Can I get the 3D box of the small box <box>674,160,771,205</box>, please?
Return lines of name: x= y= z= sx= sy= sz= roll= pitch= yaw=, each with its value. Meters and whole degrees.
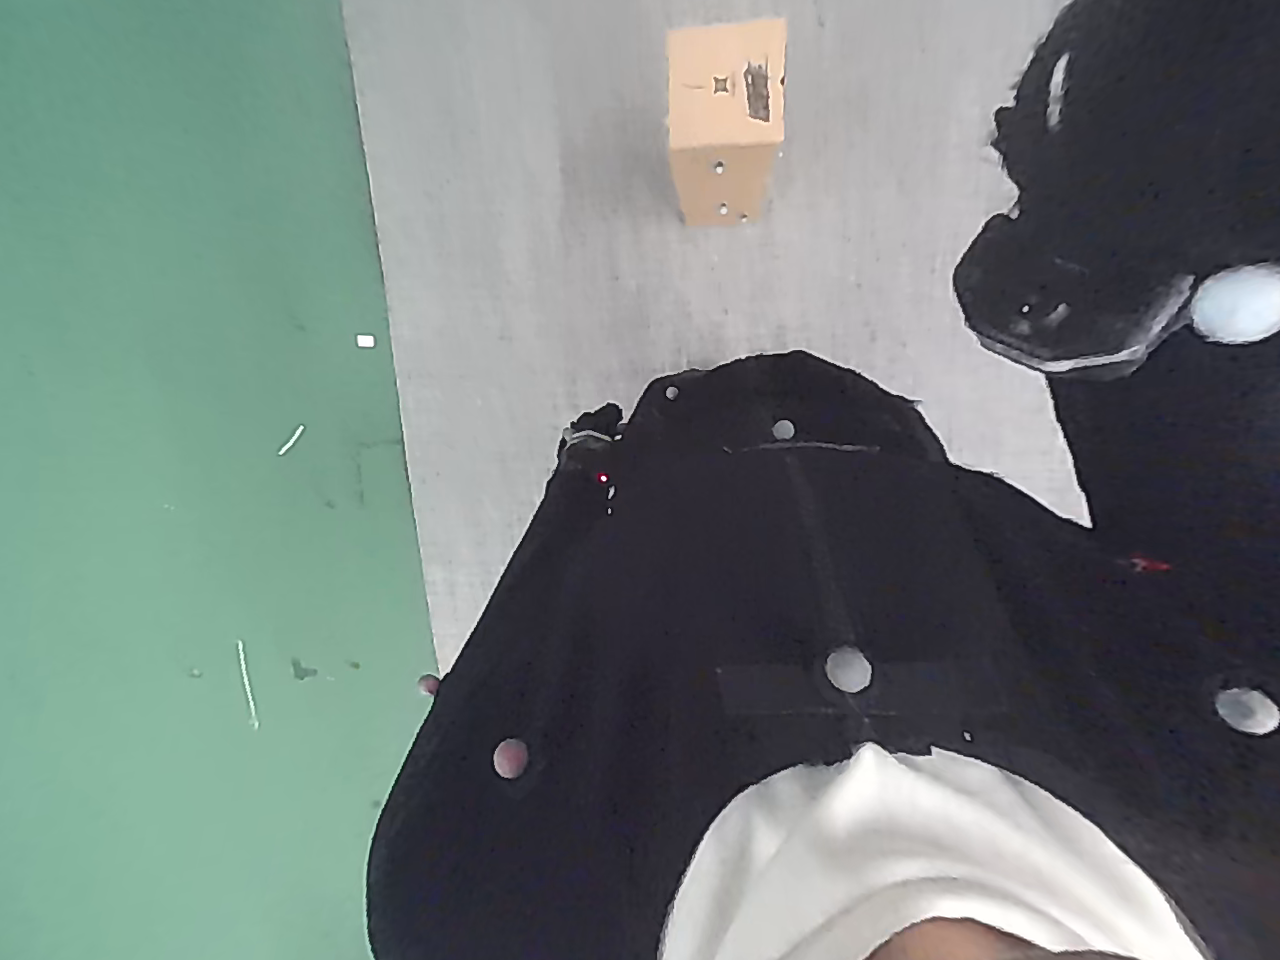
small box: x=0.160 y=-0.645 z=1.046 sx=0.179 sy=0.176 sz=0.168 roll=3 pitch=102 yaw=6

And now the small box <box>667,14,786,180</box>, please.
small box: x=0.136 y=-0.612 z=0.886 sx=0.179 sy=0.176 sz=0.168 roll=-2 pitch=102 yaw=6

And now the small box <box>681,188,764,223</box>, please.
small box: x=0.181 y=-0.685 z=1.203 sx=0.179 sy=0.176 sz=0.168 roll=-1 pitch=101 yaw=9
